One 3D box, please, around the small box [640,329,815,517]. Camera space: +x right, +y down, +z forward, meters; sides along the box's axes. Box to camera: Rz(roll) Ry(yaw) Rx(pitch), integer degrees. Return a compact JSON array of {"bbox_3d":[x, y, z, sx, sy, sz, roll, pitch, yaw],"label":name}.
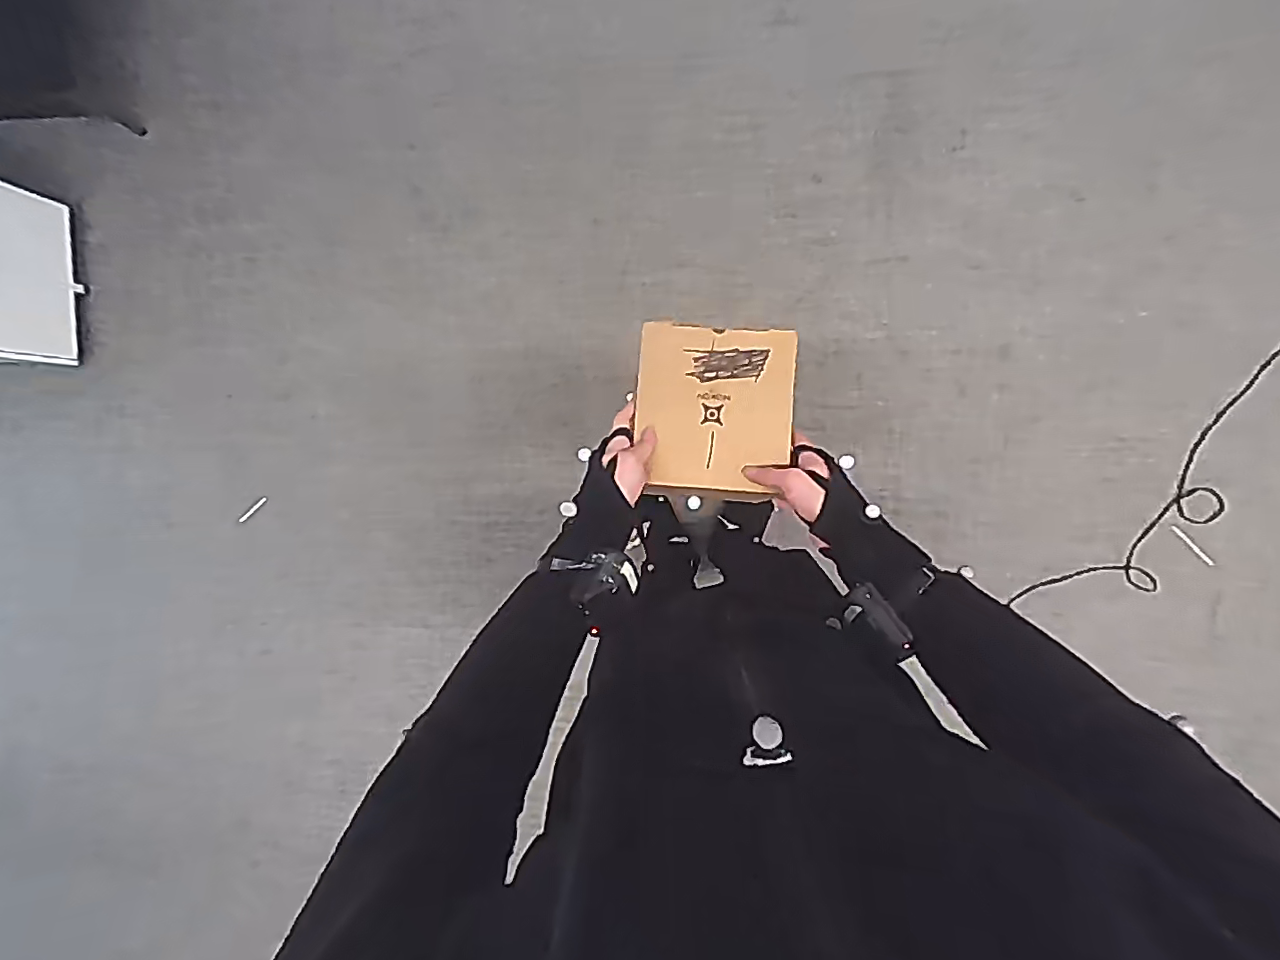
[{"bbox_3d":[0.094,-0.056,0.637,0.168,0.176,0.179,7,84,3],"label":"small box"}]
